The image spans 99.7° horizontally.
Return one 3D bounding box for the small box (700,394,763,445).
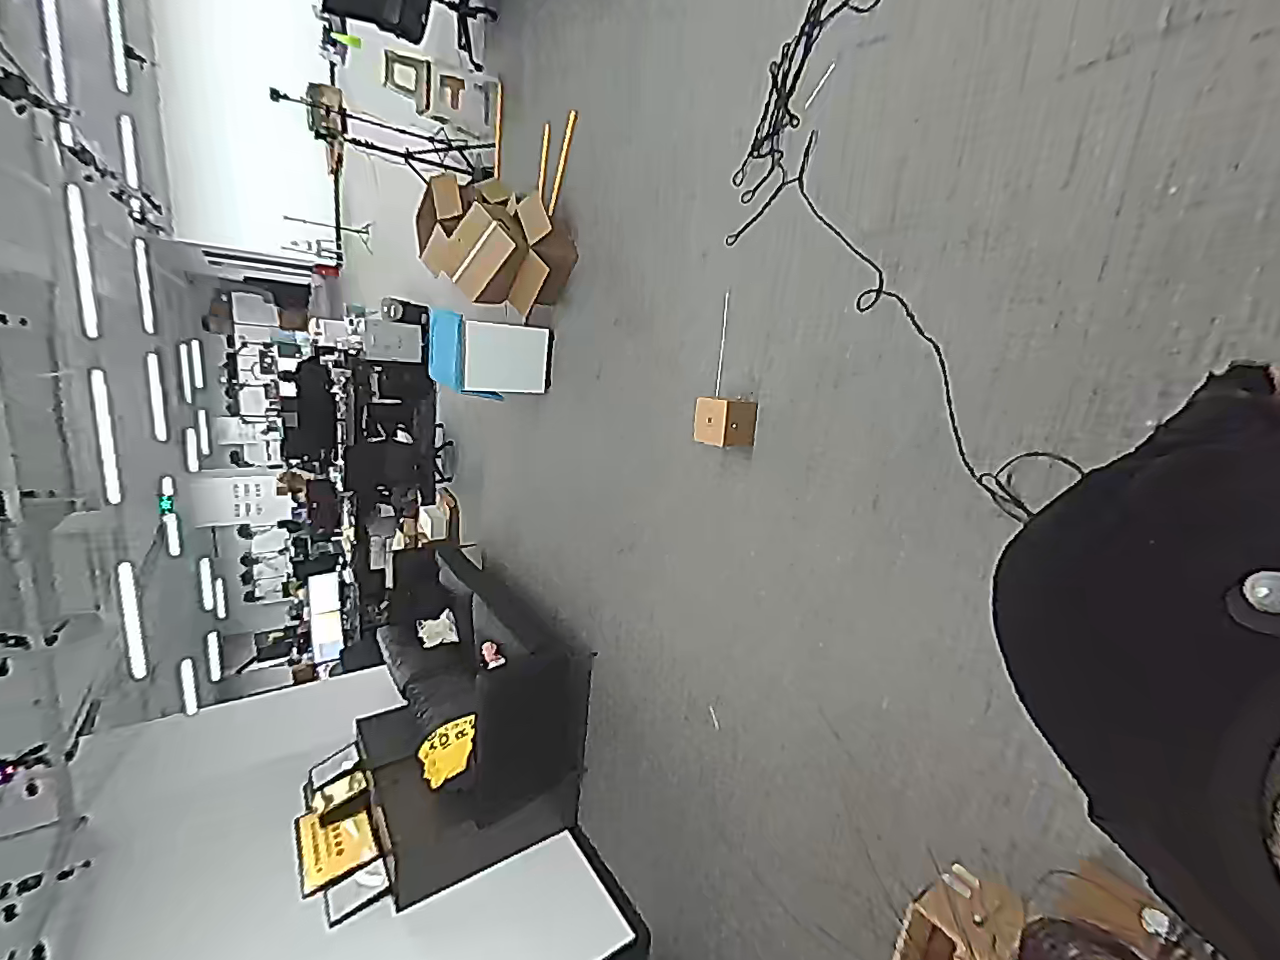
[{"bbox_3d":[0.352,-0.235,2.073,0.168,0.176,0.179,21,110,52],"label":"small box"}]
